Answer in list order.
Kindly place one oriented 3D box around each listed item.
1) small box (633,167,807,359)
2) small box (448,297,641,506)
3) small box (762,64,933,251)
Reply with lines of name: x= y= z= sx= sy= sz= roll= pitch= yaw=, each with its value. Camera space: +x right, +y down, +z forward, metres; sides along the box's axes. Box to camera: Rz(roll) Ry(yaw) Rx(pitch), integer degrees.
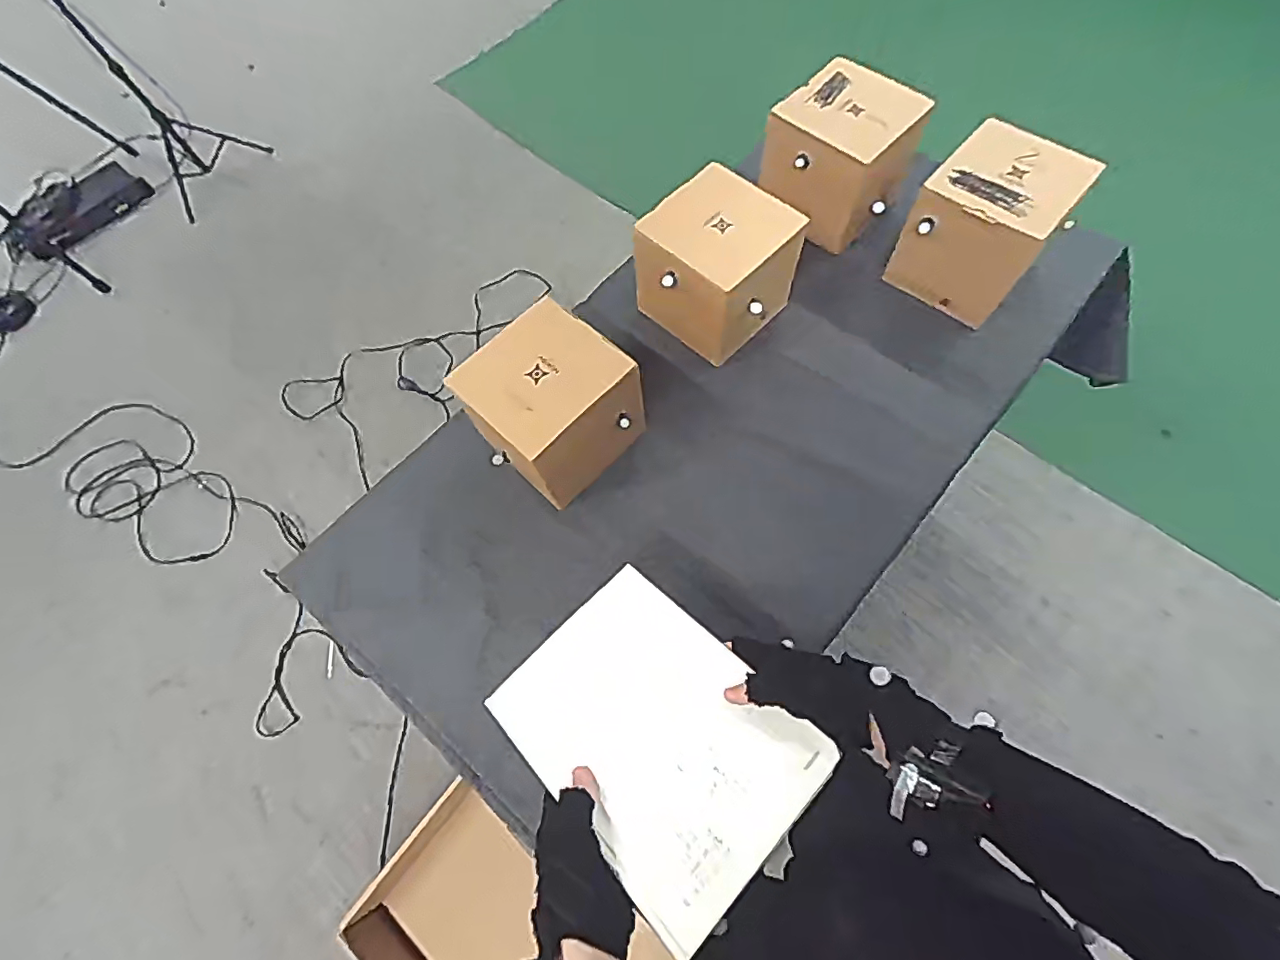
small box: x=0.113 y=-0.307 z=0.796 sx=0.168 sy=0.176 sz=0.179 roll=-43 pitch=70 yaw=-13
small box: x=-0.114 y=-0.098 z=0.721 sx=0.168 sy=0.176 sz=0.179 roll=41 pitch=74 yaw=19
small box: x=0.313 y=-0.505 z=0.862 sx=0.168 sy=0.176 sz=0.179 roll=-44 pitch=71 yaw=-13
